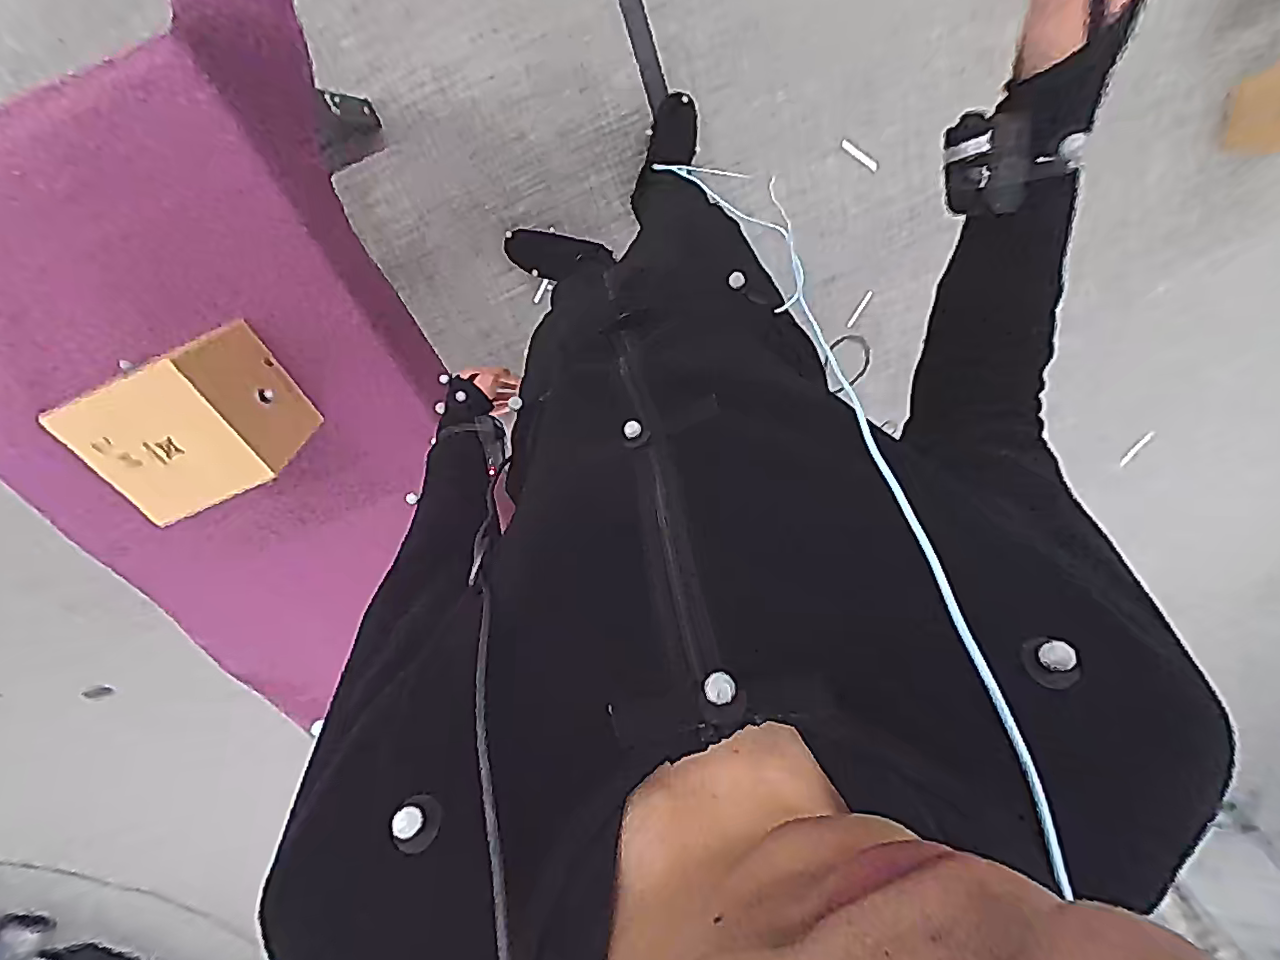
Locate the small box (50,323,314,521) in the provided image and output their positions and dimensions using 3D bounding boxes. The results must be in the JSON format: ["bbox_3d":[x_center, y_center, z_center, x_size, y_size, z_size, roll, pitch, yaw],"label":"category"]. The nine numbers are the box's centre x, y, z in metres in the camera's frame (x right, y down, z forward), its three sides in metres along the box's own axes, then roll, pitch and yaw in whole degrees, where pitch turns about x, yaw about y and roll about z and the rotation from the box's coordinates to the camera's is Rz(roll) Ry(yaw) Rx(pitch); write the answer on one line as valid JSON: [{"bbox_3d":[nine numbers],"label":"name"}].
[{"bbox_3d":[-0.566,-0.082,0.707,0.179,0.176,0.168,-22,122,5],"label":"small box"}]

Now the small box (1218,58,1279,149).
[{"bbox_3d":[1.639,-0.964,1.369,0.168,0.176,0.179,-24,123,7],"label":"small box"}]
